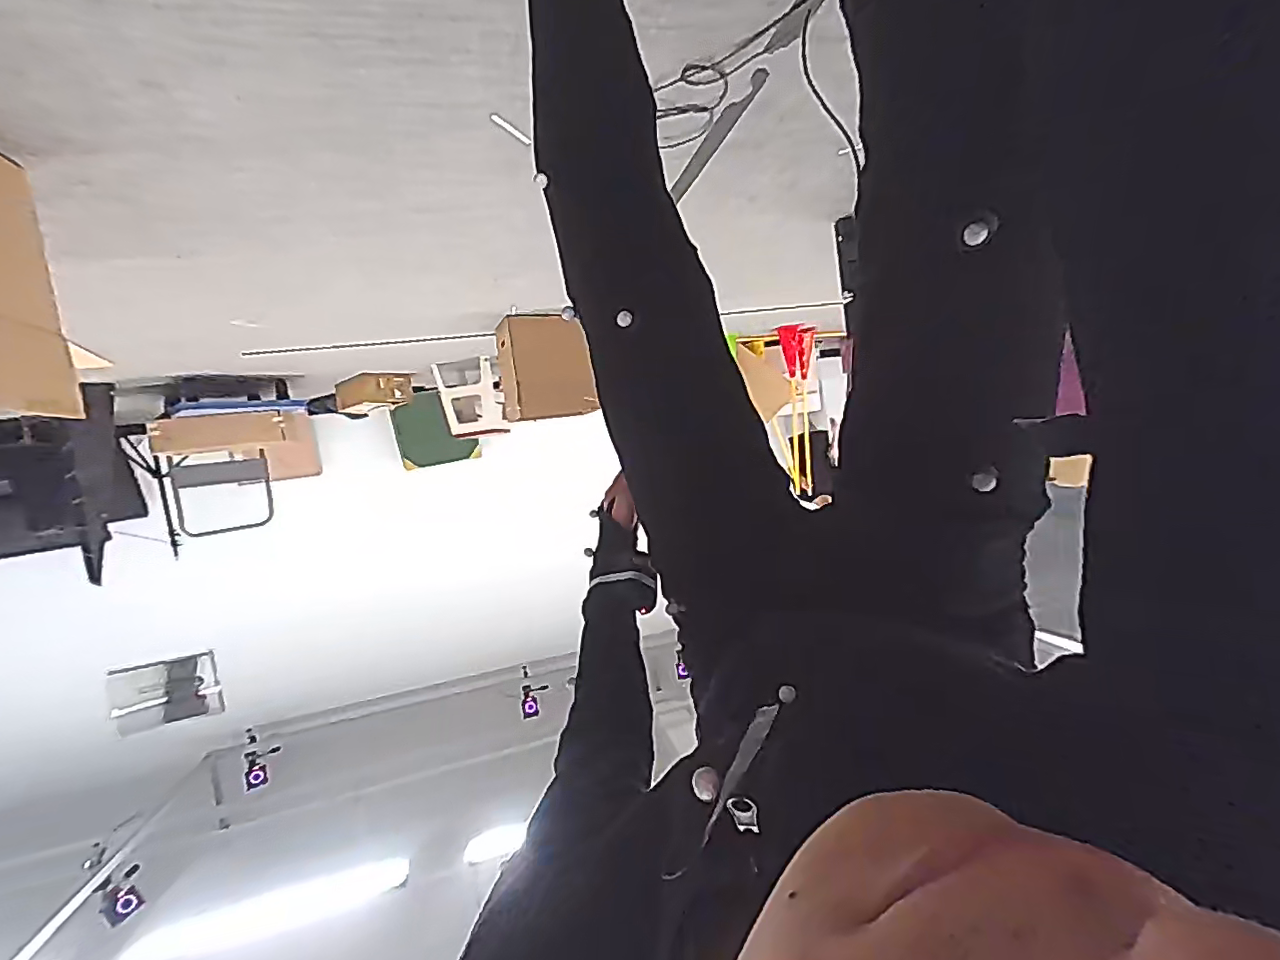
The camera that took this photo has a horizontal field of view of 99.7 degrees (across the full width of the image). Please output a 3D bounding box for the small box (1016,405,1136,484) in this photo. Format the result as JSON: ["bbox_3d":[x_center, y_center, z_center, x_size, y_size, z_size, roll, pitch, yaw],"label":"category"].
[{"bbox_3d":[1.098,-0.090,1.373,0.179,0.176,0.168,-9,-175,-6],"label":"small box"}]
